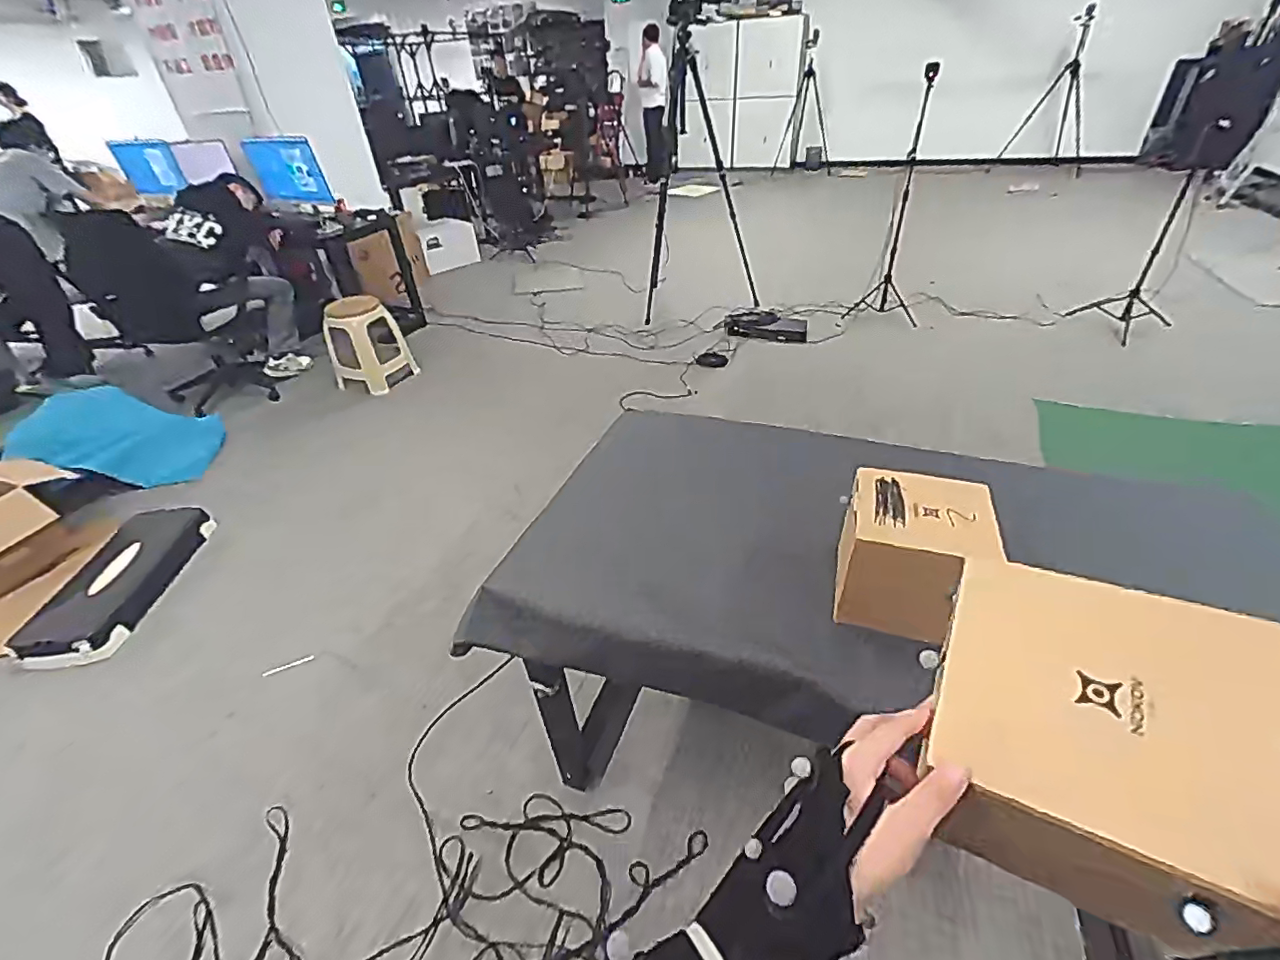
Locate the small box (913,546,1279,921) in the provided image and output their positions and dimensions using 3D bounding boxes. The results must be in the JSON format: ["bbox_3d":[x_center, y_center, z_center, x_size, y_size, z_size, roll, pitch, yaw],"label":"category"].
[{"bbox_3d":[0.308,0.177,0.387,0.179,0.176,0.168,13,55,30],"label":"small box"}]
